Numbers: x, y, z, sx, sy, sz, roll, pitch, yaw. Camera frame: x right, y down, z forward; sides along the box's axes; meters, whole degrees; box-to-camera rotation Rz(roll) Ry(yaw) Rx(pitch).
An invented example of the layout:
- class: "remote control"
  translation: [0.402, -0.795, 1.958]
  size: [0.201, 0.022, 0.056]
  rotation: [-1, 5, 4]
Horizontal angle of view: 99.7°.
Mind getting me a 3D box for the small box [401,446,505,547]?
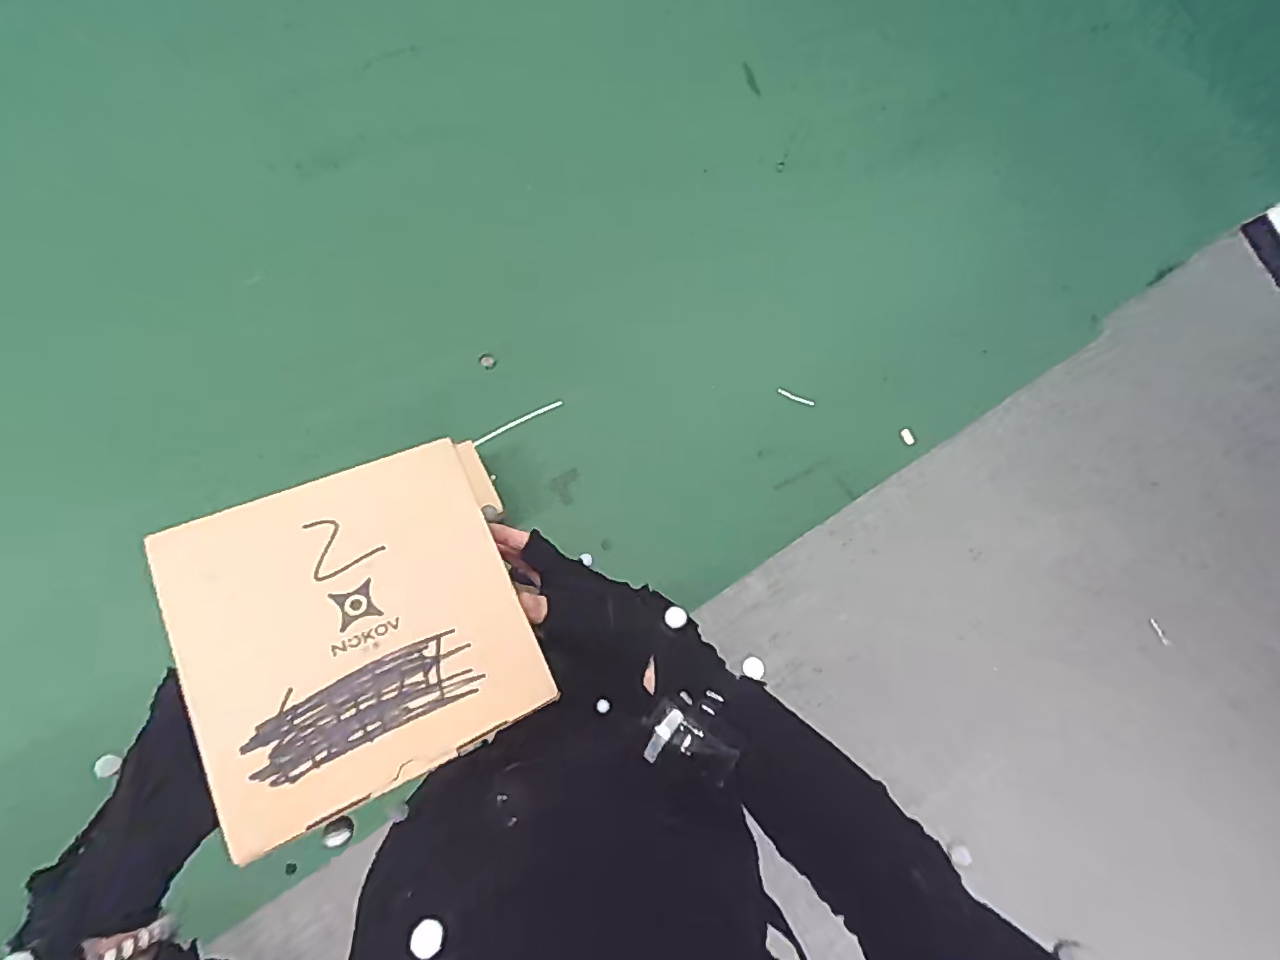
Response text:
- class: "small box"
  translation: [-0.420, 0.044, 1.247]
  size: [0.168, 0.176, 0.179]
  rotation: [-26, 87, -16]
